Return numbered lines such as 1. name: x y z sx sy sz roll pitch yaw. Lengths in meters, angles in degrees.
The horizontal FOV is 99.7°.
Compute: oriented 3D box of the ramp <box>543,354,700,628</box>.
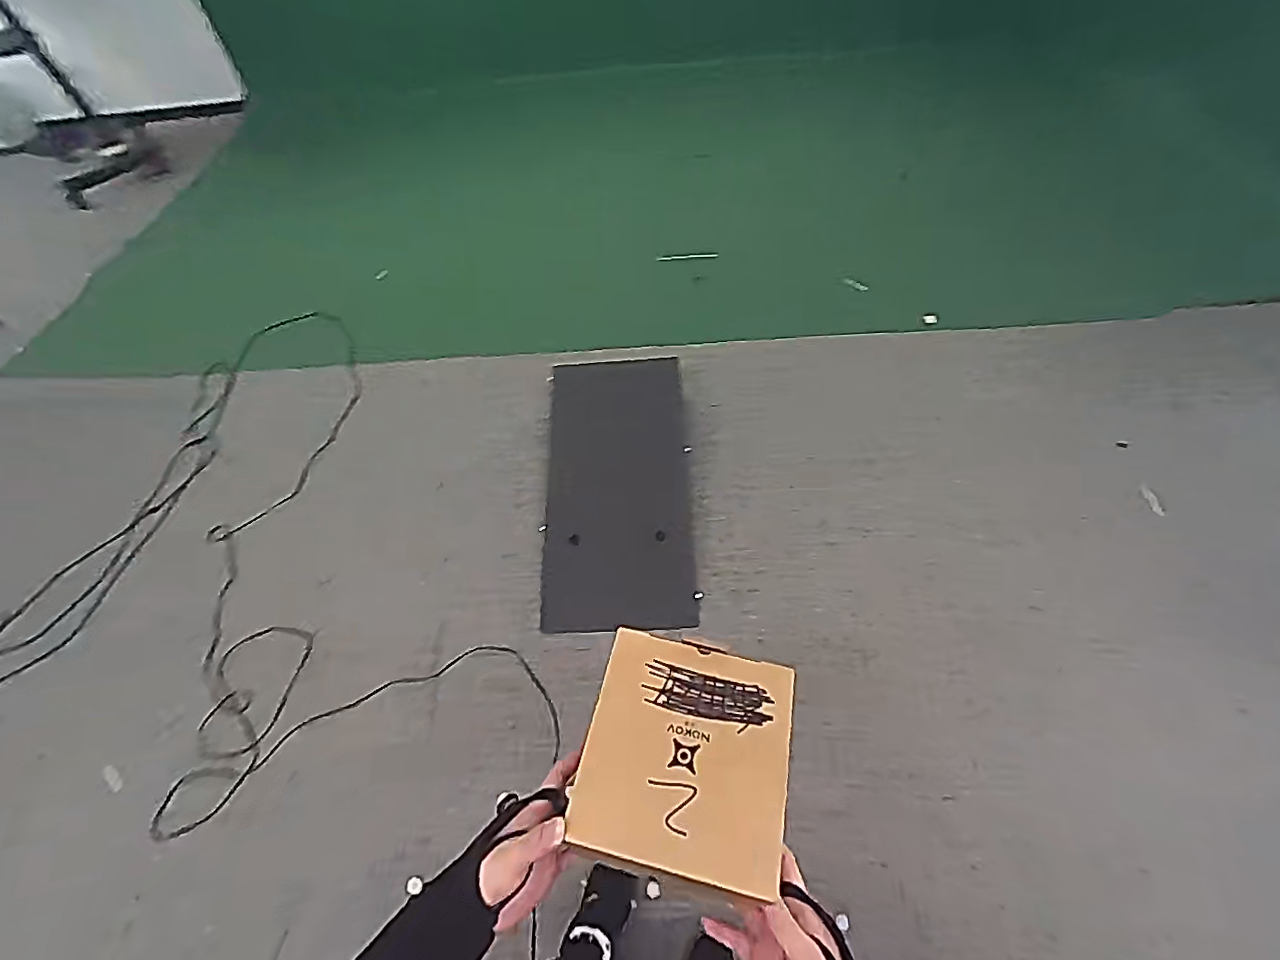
1. ramp: -0.067 -0.009 1.855 0.509 0.206 0.991 -4 55 2
